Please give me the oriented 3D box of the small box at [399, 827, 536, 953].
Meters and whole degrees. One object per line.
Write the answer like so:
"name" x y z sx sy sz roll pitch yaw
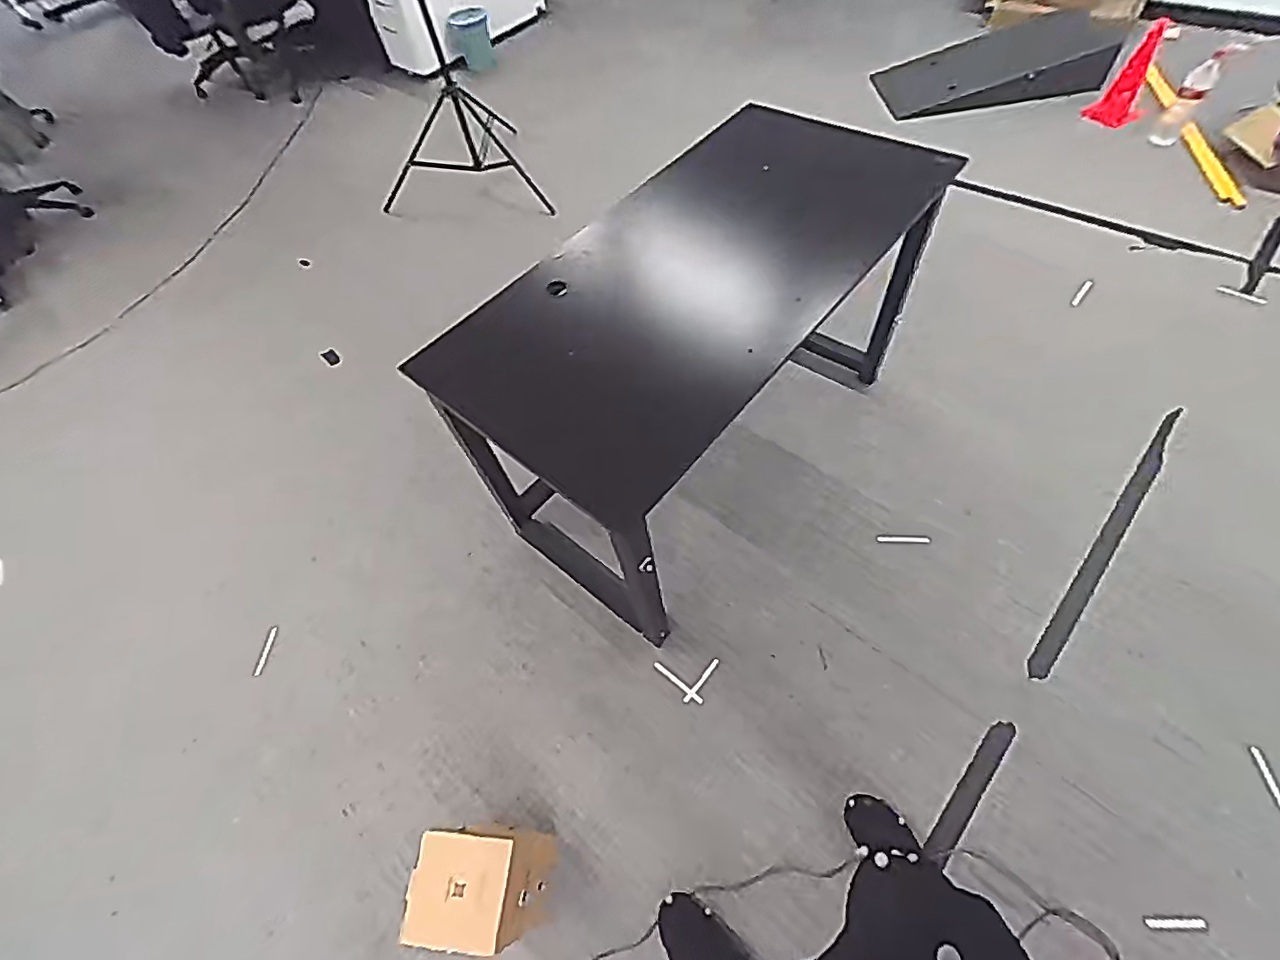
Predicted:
"small box" -0.314 0.762 1.024 0.179 0.176 0.168 1 59 7

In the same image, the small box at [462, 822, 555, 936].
"small box" -0.297 0.845 1.163 0.179 0.176 0.168 4 58 11
